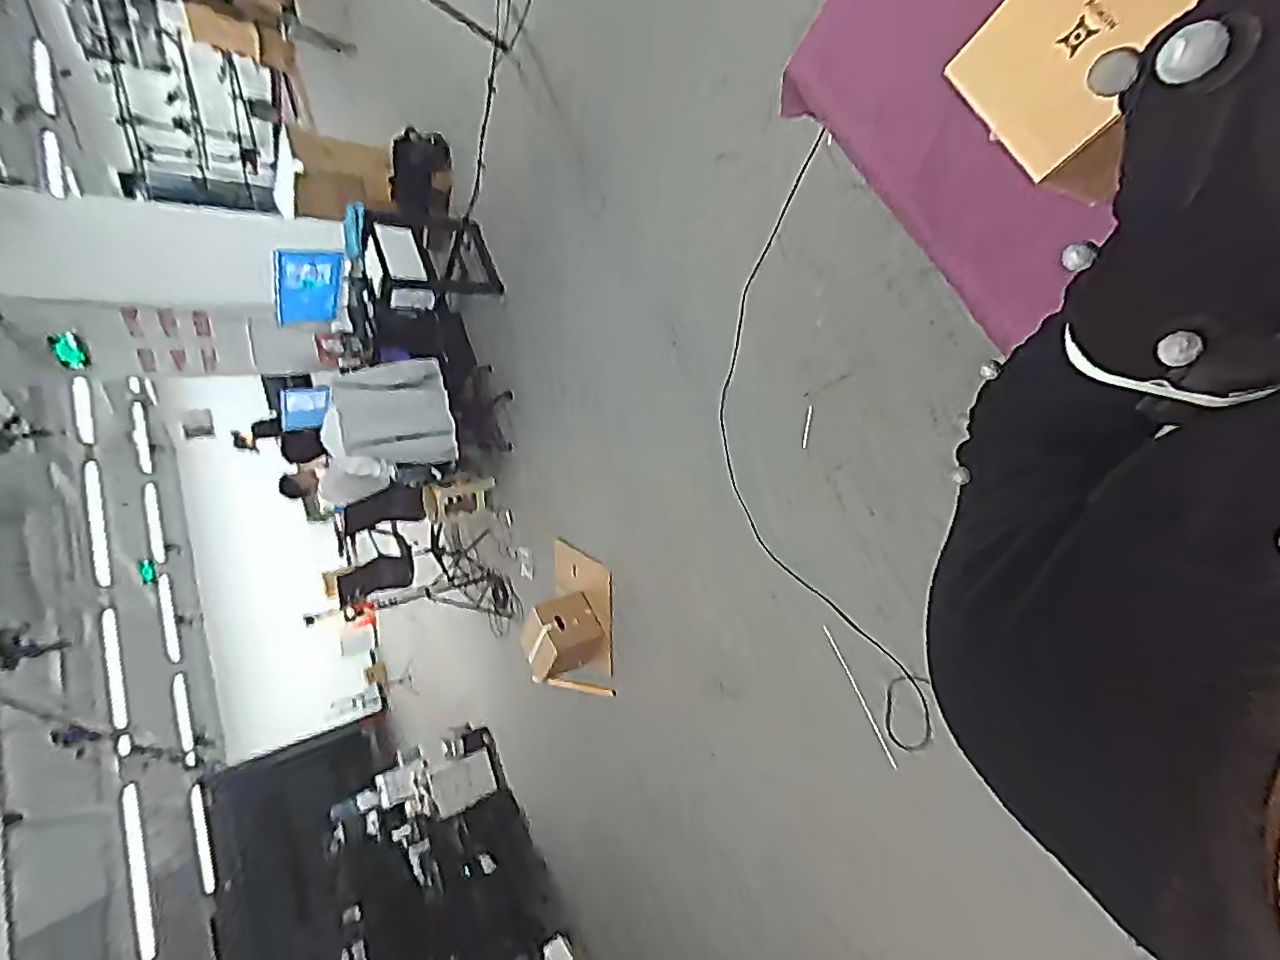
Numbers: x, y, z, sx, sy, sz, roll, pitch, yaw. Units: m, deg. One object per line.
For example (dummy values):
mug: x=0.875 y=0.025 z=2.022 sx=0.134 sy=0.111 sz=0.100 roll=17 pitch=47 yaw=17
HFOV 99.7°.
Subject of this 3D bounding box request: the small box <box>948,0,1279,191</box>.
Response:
small box: x=0.454 y=-0.415 z=0.523 sx=0.179 sy=0.176 sz=0.168 roll=-44 pitch=64 yaw=49
